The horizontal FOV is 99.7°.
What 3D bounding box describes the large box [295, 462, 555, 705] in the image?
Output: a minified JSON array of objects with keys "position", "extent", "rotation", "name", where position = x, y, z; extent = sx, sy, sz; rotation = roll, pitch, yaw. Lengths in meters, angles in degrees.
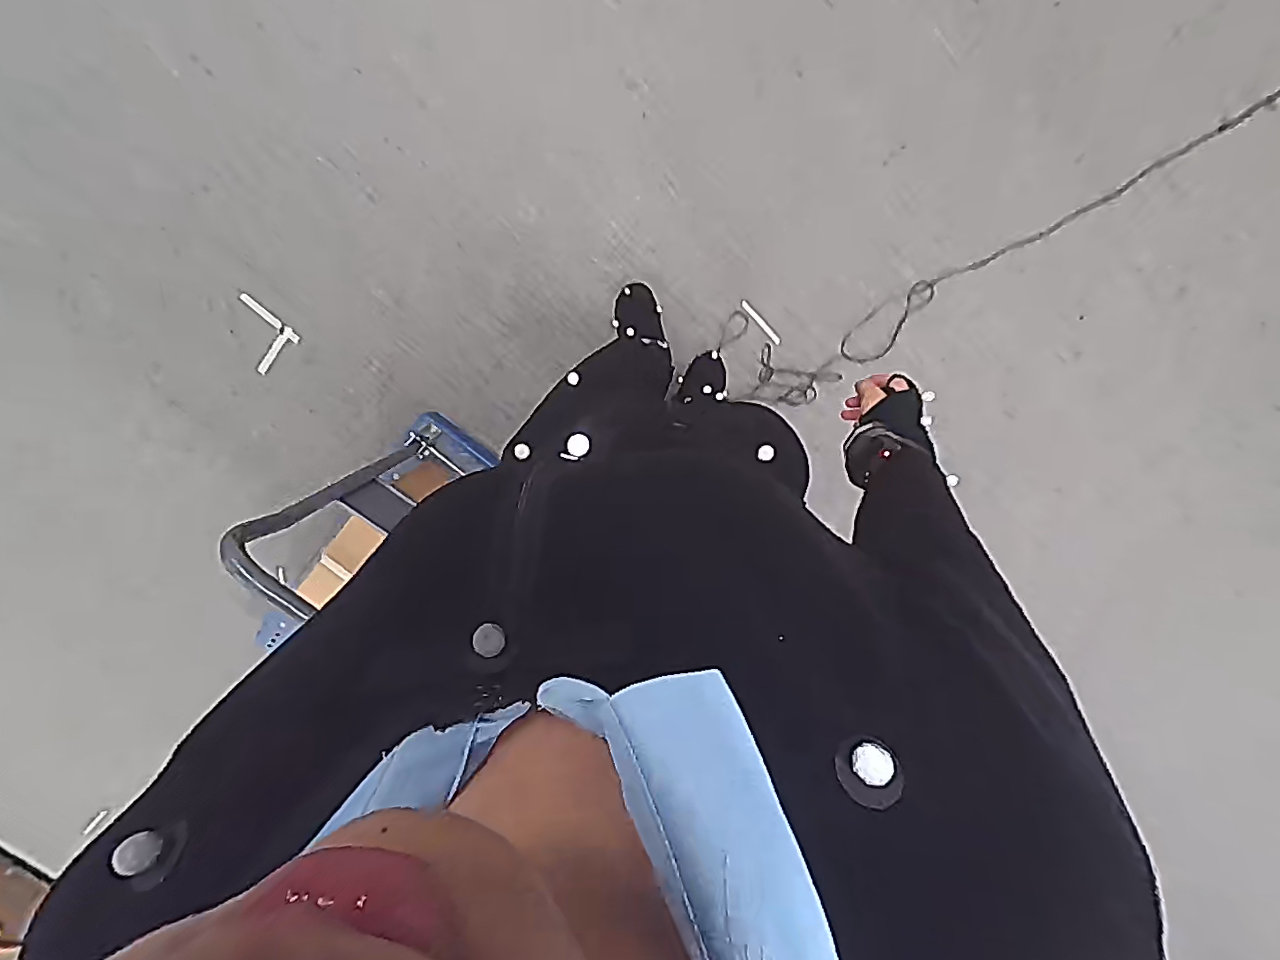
[{"position":[-0.469,0.226,1.267],"extent":[0.408,0.320,0.320],"rotation":[41,104,-9],"name":"large box"}]
